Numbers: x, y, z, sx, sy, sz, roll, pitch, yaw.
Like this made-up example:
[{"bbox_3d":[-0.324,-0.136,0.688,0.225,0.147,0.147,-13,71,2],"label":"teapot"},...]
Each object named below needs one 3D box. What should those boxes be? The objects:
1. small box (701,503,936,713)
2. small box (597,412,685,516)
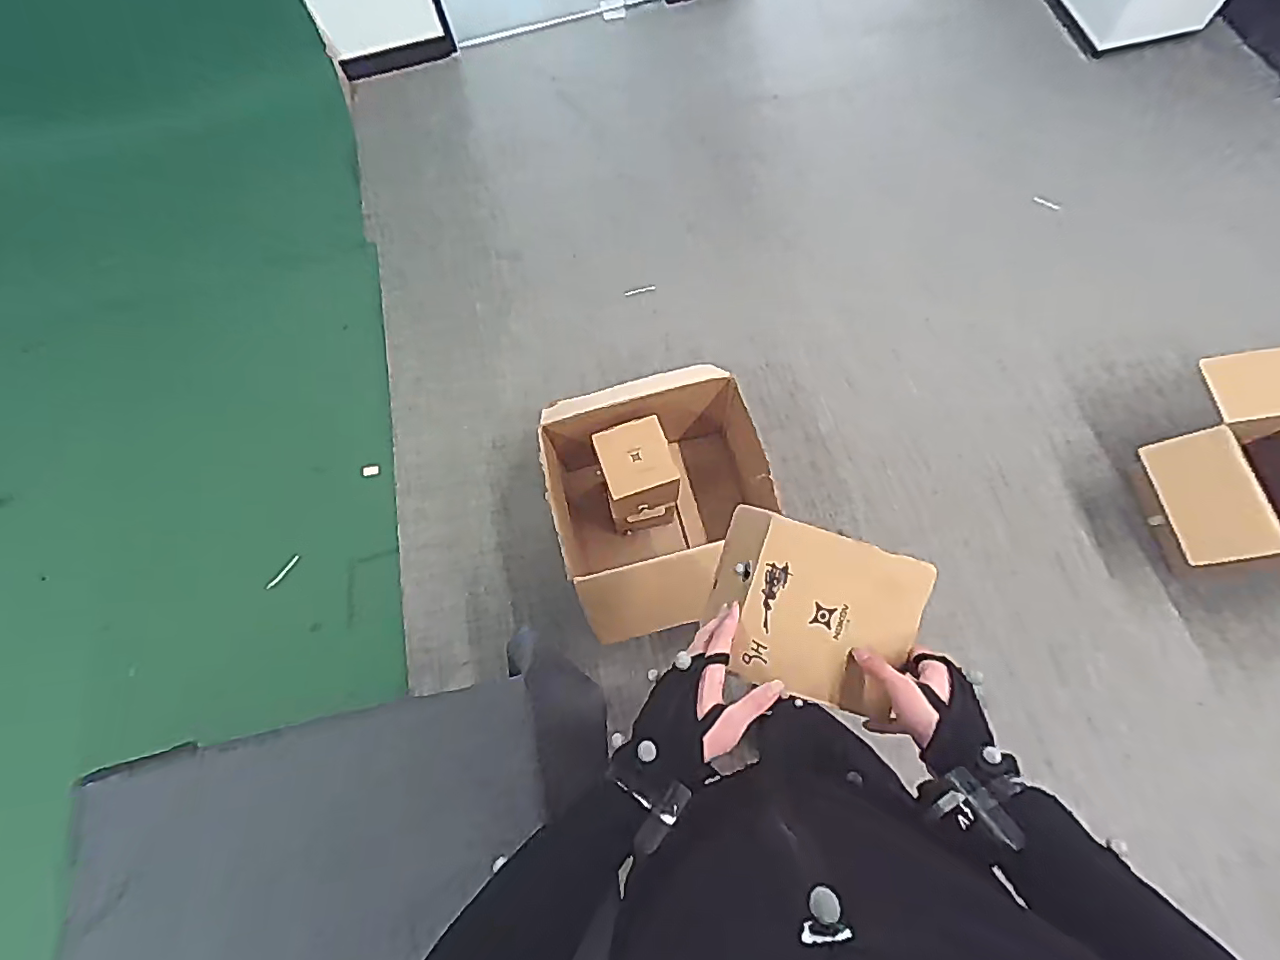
[{"bbox_3d":[0.184,0.128,0.611,0.179,0.176,0.168,19,89,-2],"label":"small box"},{"bbox_3d":[0.001,-0.035,1.319,0.168,0.176,0.179,-19,71,-5],"label":"small box"}]
